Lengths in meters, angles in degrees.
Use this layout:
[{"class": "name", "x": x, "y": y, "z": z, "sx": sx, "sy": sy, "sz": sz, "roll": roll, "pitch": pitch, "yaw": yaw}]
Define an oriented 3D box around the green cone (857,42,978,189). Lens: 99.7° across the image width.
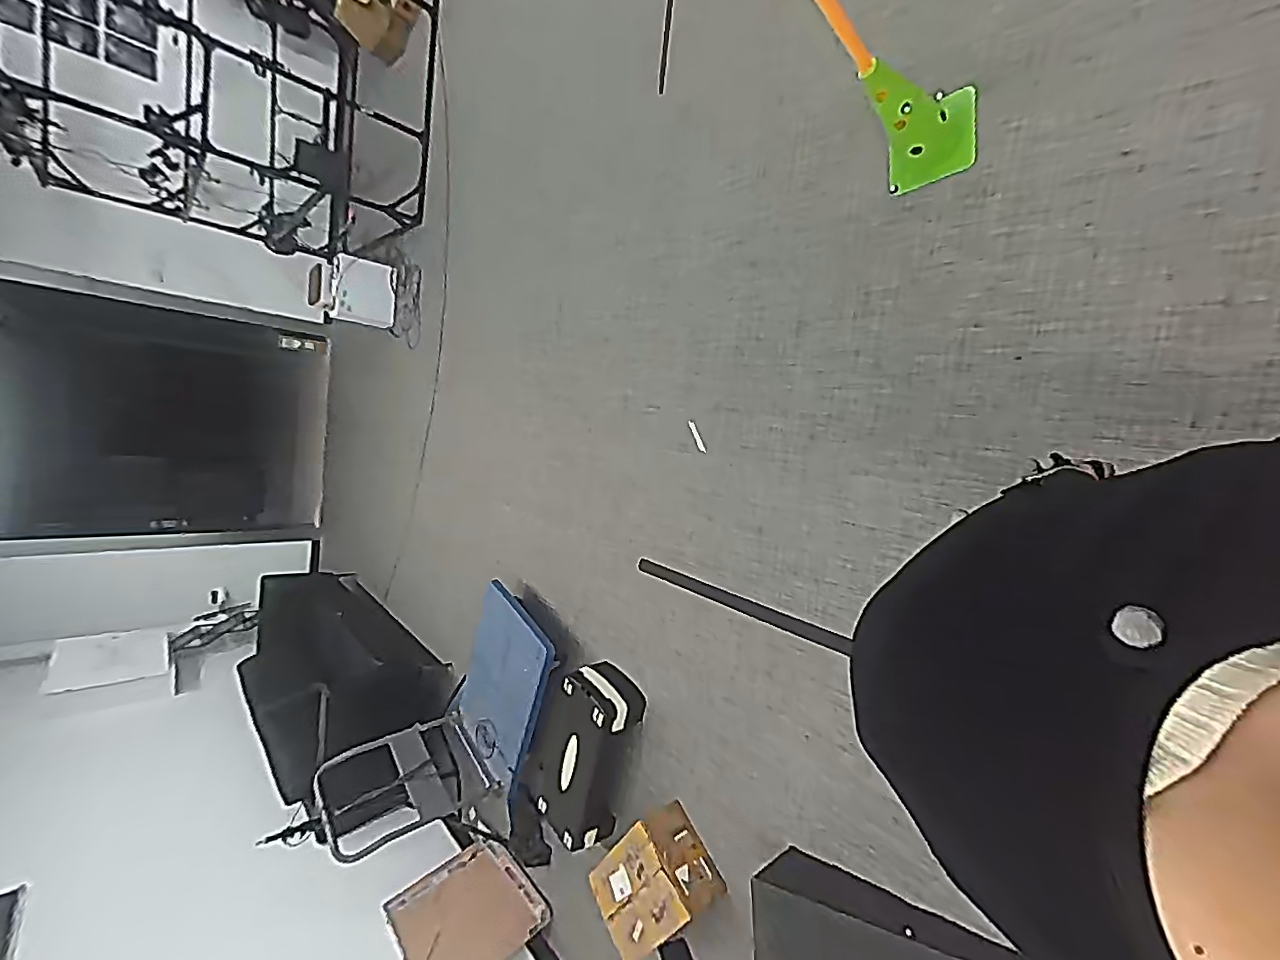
[{"class": "green cone", "x": 0.596, "y": -0.858, "z": 1.219, "sx": 0.200, "sy": 0.368, "sz": 0.202, "roll": -2, "pitch": 85, "yaw": 47}]
